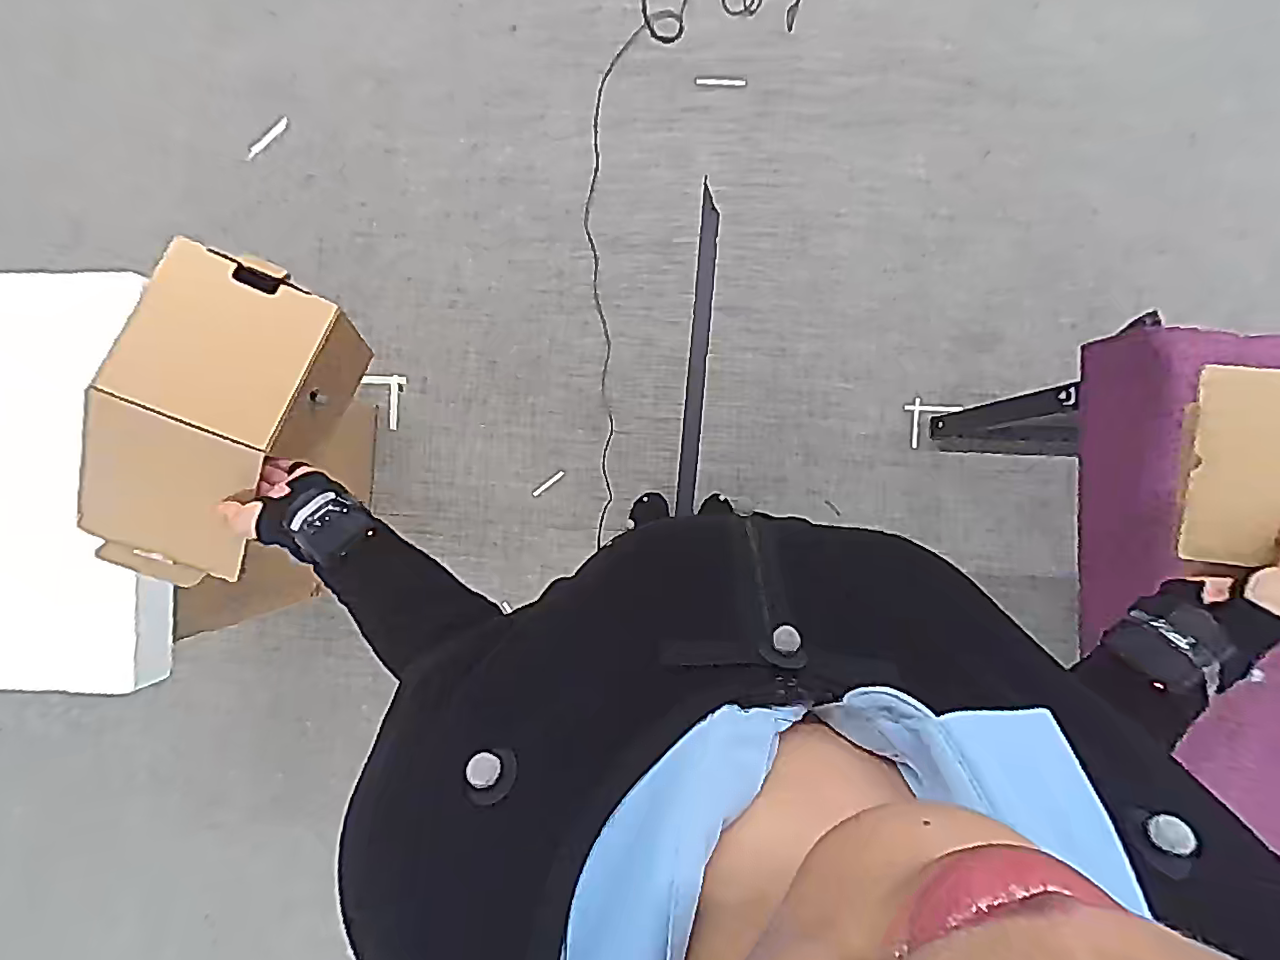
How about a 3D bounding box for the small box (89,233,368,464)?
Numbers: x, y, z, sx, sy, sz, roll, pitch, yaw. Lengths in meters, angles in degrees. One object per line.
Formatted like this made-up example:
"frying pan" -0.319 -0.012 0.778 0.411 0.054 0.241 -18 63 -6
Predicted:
"small box" -0.437 -0.130 0.615 0.168 0.176 0.179 23 79 -12
